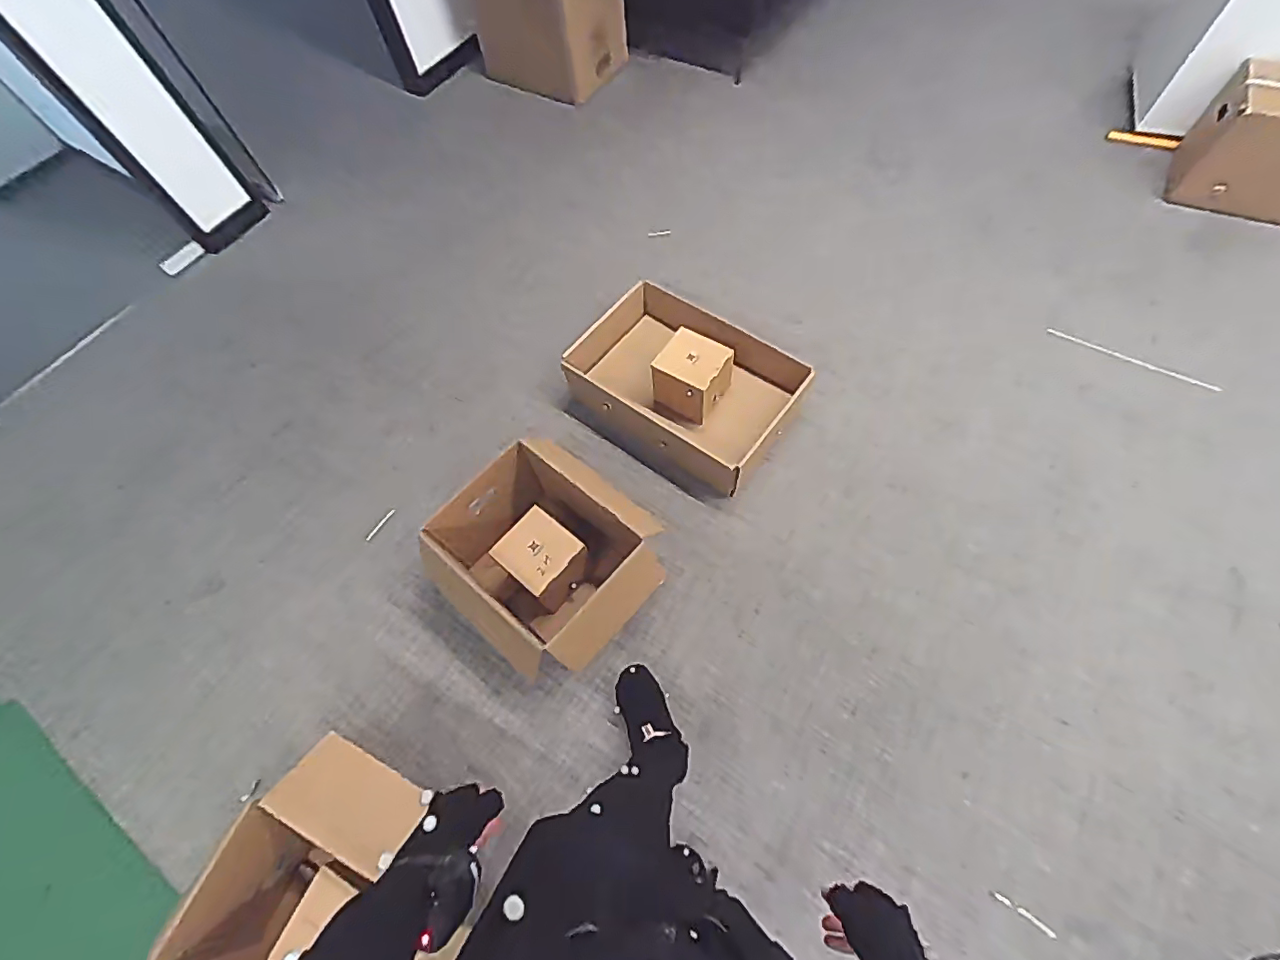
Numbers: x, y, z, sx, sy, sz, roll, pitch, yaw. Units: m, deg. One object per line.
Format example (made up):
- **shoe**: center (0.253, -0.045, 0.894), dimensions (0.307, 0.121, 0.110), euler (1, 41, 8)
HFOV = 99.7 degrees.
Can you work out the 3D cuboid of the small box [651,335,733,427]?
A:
- **small box**: center (0.149, -0.281, 1.569), dimensions (0.179, 0.176, 0.168), euler (29, 68, 18)
